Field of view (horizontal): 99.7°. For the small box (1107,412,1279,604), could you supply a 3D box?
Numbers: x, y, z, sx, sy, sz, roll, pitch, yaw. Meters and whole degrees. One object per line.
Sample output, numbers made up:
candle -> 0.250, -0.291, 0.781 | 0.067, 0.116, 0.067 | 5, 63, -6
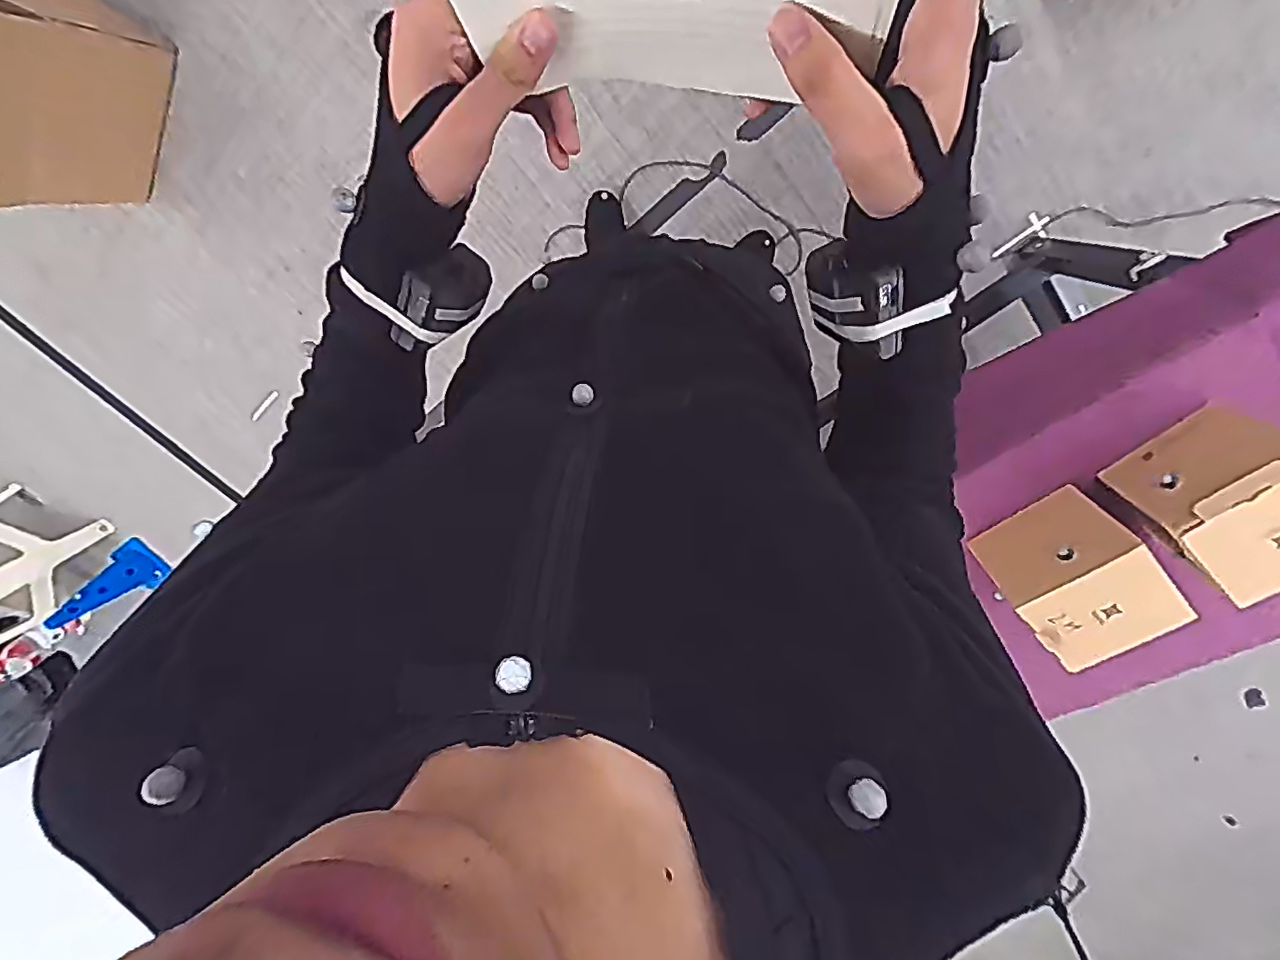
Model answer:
small box -> 0.810, 0.028, 0.743 | 0.179, 0.176, 0.168 | 39, 117, -15

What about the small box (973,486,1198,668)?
small box -> 0.658, 0.141, 0.822 | 0.179, 0.176, 0.168 | -39, 107, 24
